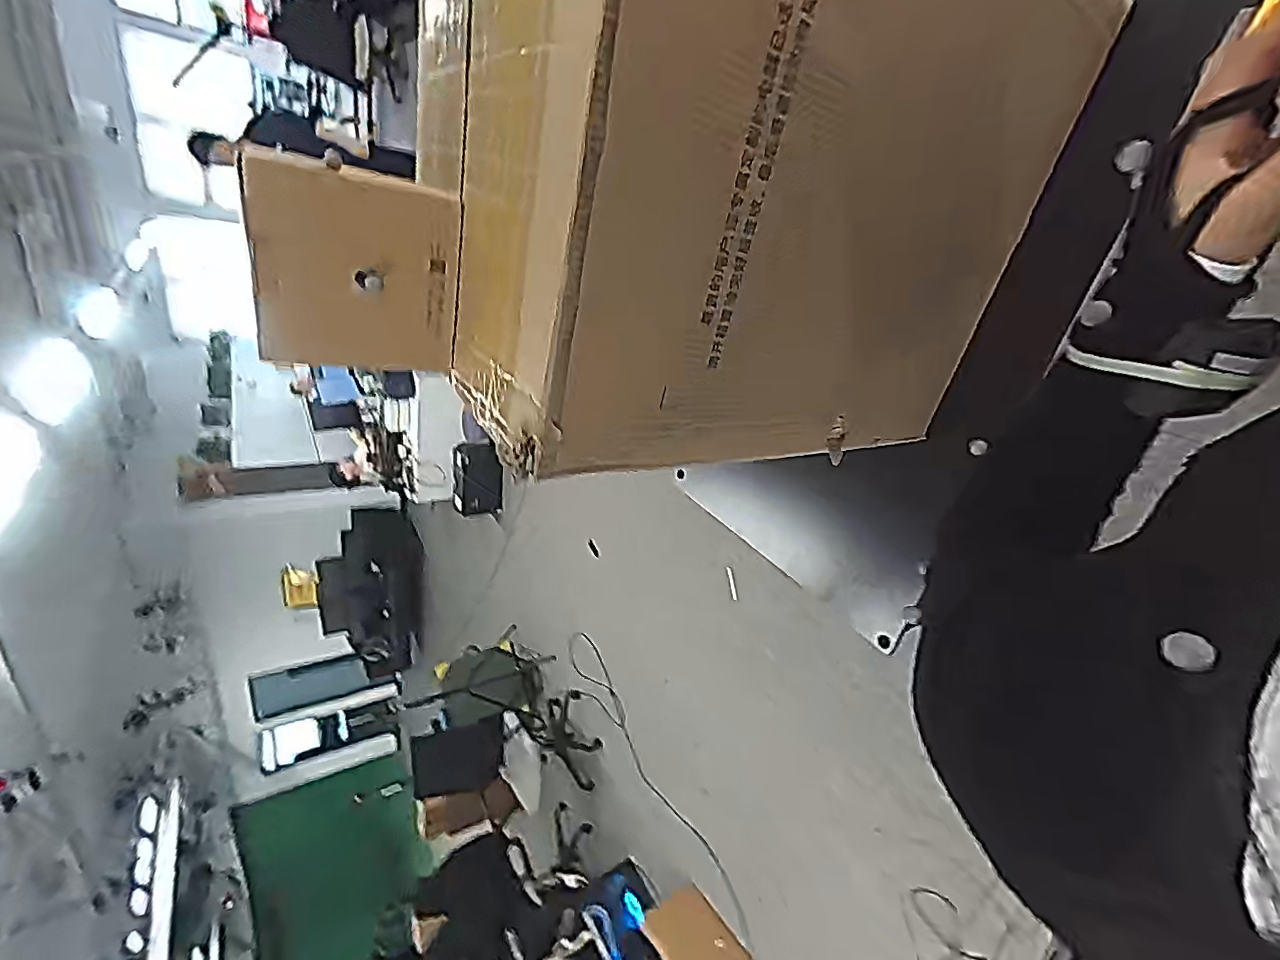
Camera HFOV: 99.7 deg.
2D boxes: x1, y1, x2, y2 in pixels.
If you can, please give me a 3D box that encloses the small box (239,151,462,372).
[{"bbox_3d":[-0.287,-0.215,0.544,0.179,0.176,0.168,42,128,46],"label":"small box"}]
